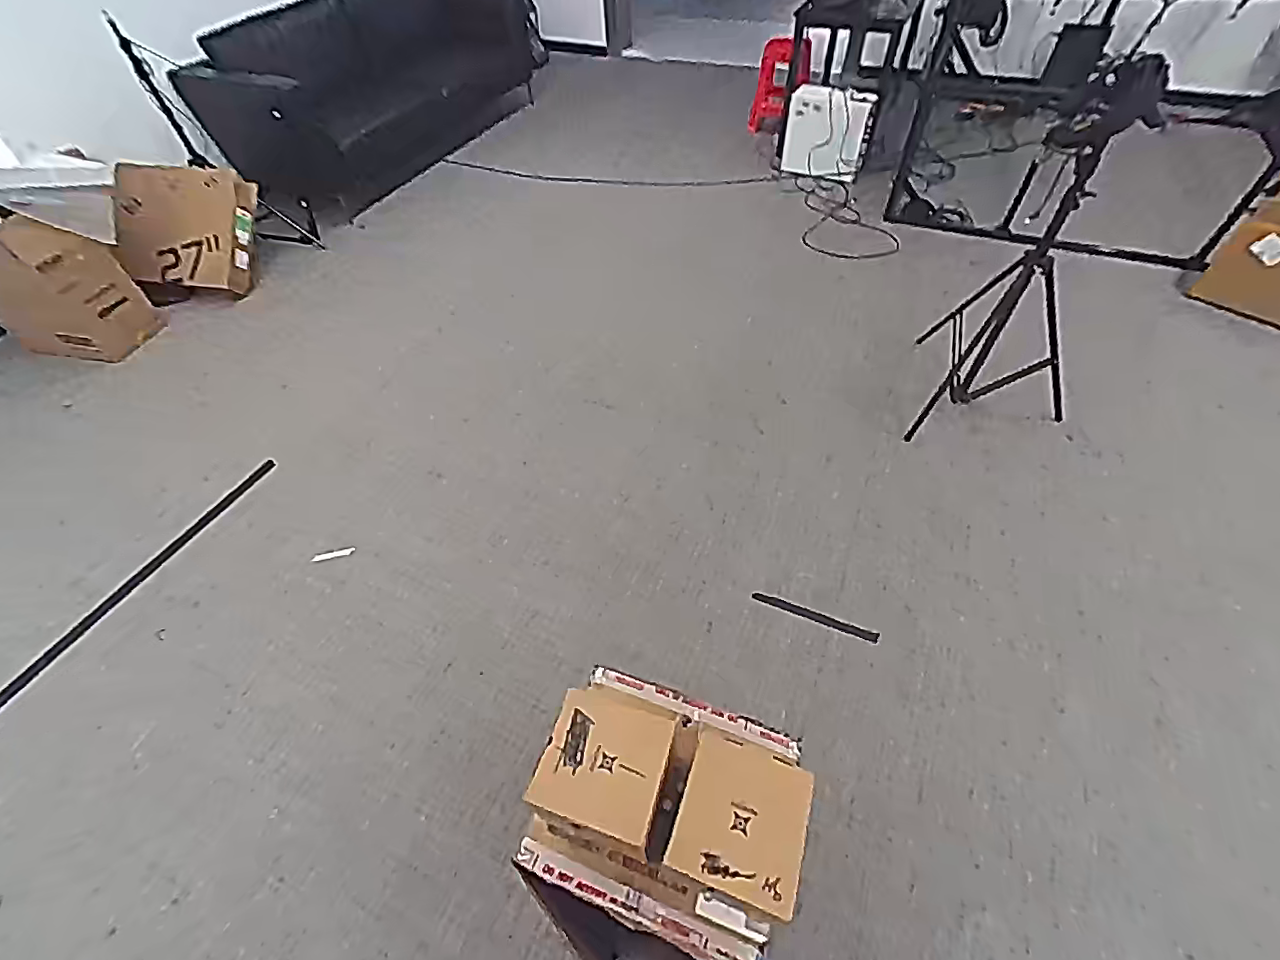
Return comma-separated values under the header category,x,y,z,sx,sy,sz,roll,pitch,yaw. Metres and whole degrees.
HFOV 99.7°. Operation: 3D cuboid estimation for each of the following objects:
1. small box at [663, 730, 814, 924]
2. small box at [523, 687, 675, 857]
category,x,y,z,sx,sy,sz,roll,pitch,yaw
small box,0.135,0.497,0.777,0.168,0.176,0.179,17,52,14
small box,-0.051,0.448,0.825,0.179,0.176,0.168,12,51,14
